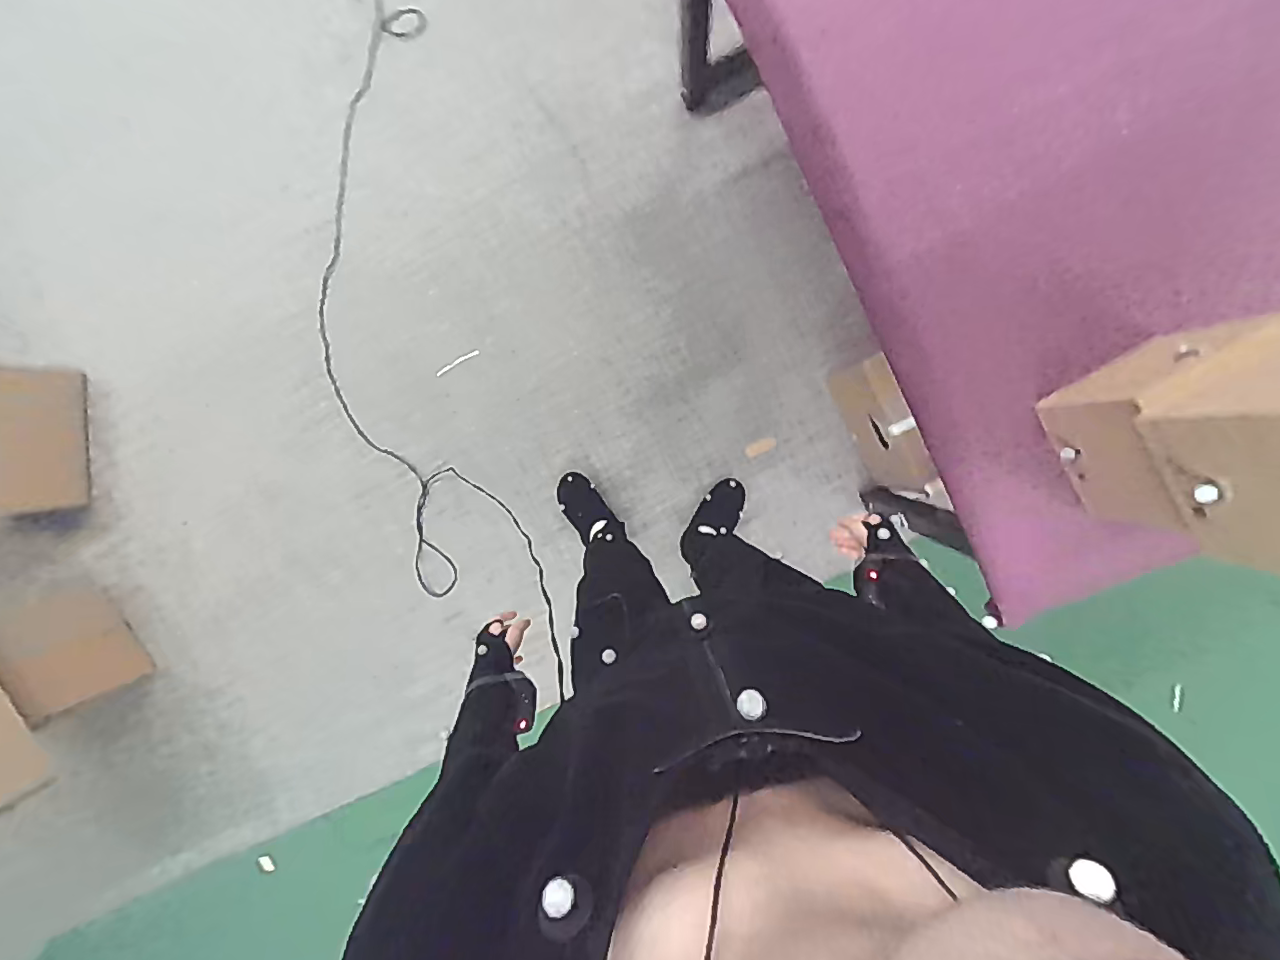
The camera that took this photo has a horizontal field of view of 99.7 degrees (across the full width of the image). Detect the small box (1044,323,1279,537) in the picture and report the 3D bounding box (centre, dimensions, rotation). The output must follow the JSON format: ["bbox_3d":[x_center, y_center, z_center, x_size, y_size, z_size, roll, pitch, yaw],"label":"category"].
[{"bbox_3d":[0.614,-0.057,0.601,0.179,0.176,0.168,-29,91,6],"label":"small box"}]

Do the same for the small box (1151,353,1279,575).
[{"bbox_3d":[0.598,-0.023,0.440,0.179,0.176,0.168,-29,91,6],"label":"small box"}]

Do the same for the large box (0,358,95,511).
[{"bbox_3d":[-1.793,-0.126,1.476,0.320,0.320,0.408,4,94,4],"label":"large box"}]
